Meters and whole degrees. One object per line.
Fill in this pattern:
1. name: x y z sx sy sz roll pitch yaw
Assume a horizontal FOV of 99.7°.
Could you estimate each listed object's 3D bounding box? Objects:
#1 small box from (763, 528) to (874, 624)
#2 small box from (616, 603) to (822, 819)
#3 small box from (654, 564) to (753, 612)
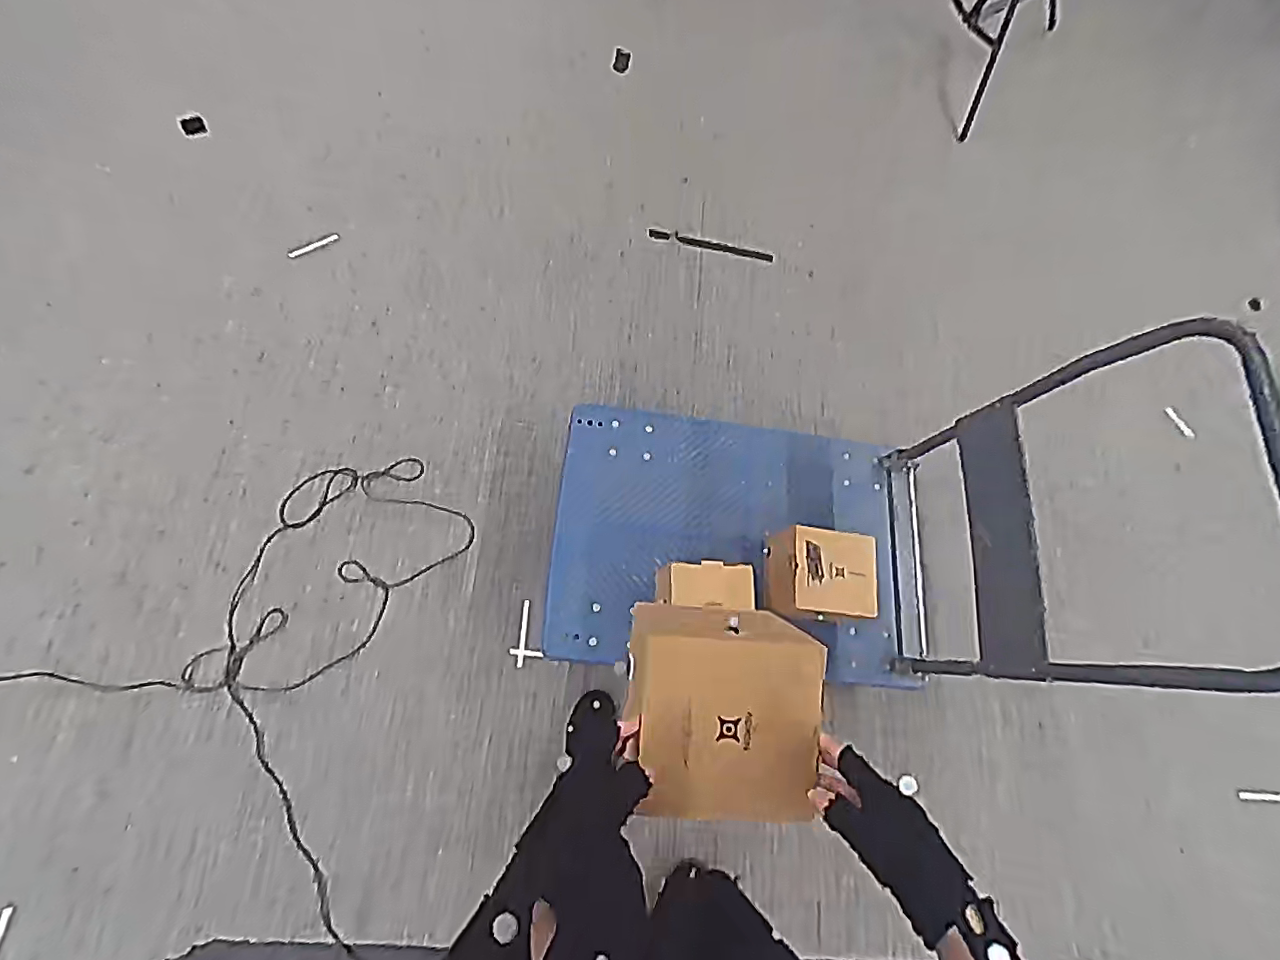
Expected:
1. small box: 0.373 0.211 1.154 0.179 0.176 0.168 9 72 -7
2. small box: 0.074 0.235 0.588 0.179 0.176 0.168 6 87 -6
3. small box: 0.122 0.273 1.095 0.168 0.176 0.179 4 72 -8
